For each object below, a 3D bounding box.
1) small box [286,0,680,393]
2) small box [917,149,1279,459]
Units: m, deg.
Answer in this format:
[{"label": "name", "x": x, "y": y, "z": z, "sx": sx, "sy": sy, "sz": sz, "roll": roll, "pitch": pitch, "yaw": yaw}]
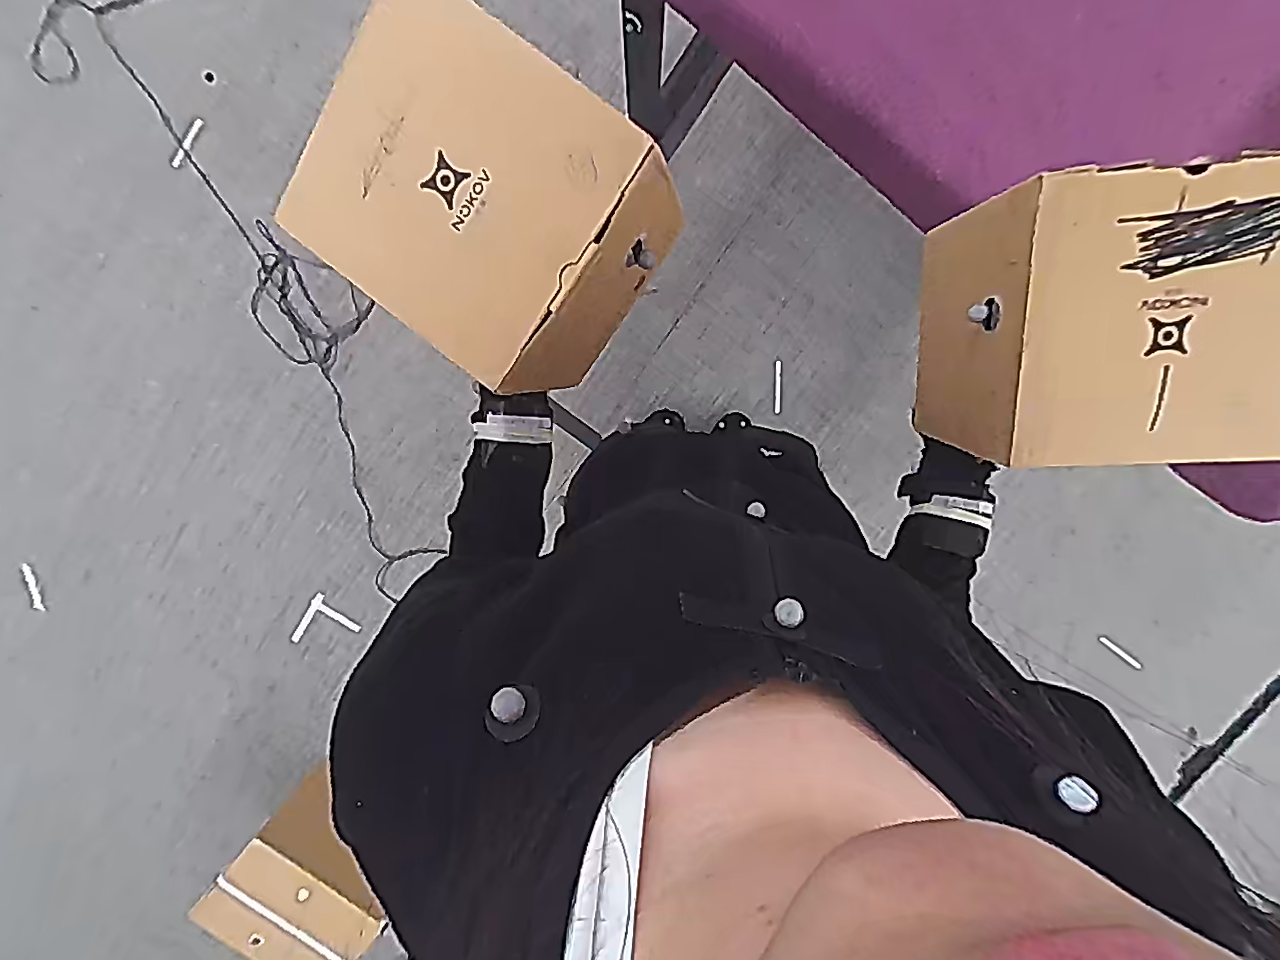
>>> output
[{"label": "small box", "x": -0.088, "y": -0.182, "z": 0.384, "sx": 0.179, "sy": 0.176, "sz": 0.168, "roll": 37, "pitch": 105, "yaw": 2}, {"label": "small box", "x": 0.325, "y": -0.118, "z": 0.403, "sx": 0.168, "sy": 0.176, "sz": 0.179, "roll": -2, "pitch": 104, "yaw": 7}]
